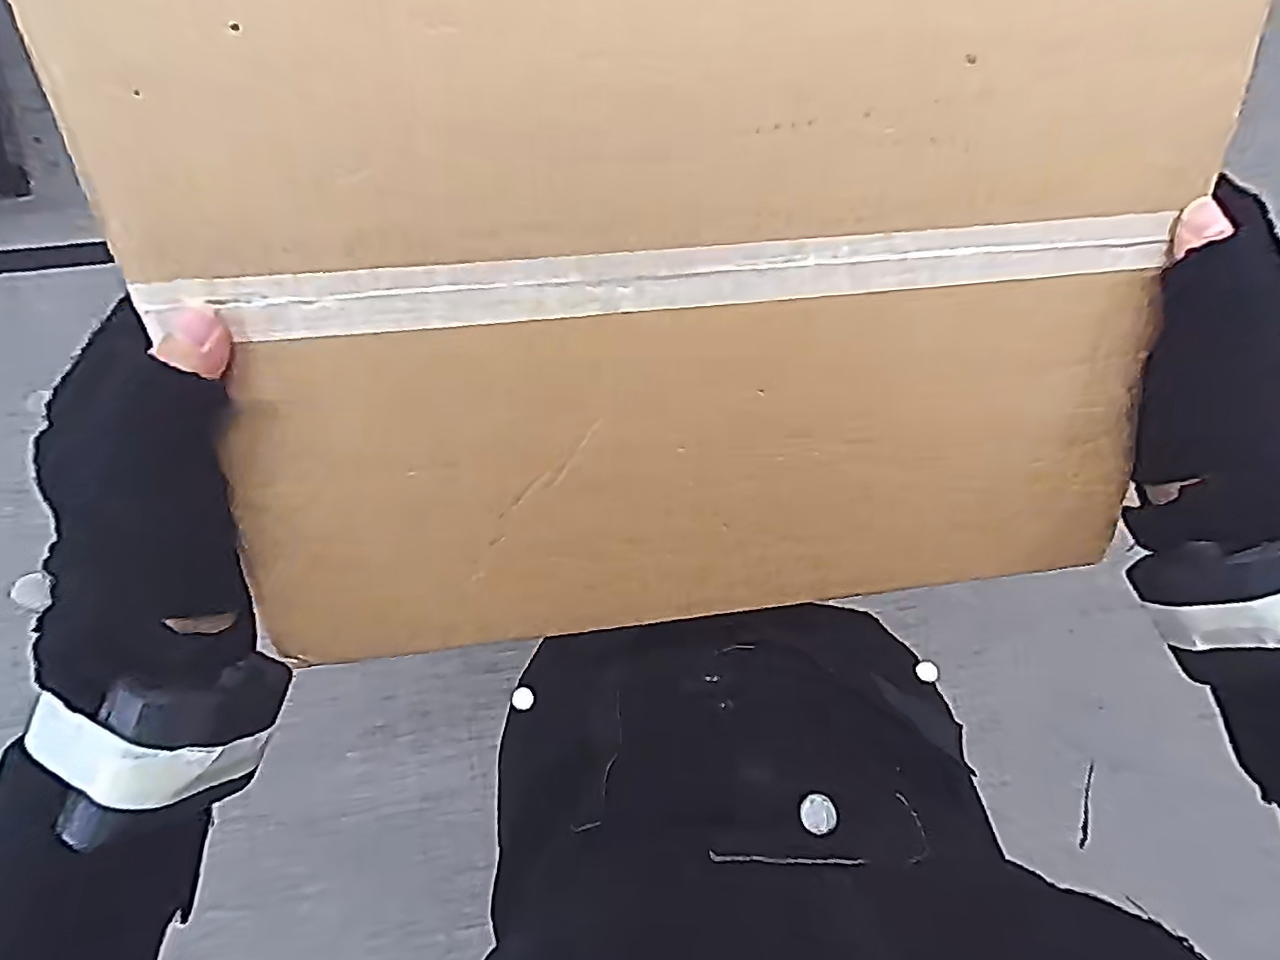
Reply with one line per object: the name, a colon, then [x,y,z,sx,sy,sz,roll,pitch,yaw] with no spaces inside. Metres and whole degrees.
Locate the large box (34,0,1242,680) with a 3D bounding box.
large box: [0.009,-0.125,0.352,0.408,0.320,0.320,-7,113,-6]
